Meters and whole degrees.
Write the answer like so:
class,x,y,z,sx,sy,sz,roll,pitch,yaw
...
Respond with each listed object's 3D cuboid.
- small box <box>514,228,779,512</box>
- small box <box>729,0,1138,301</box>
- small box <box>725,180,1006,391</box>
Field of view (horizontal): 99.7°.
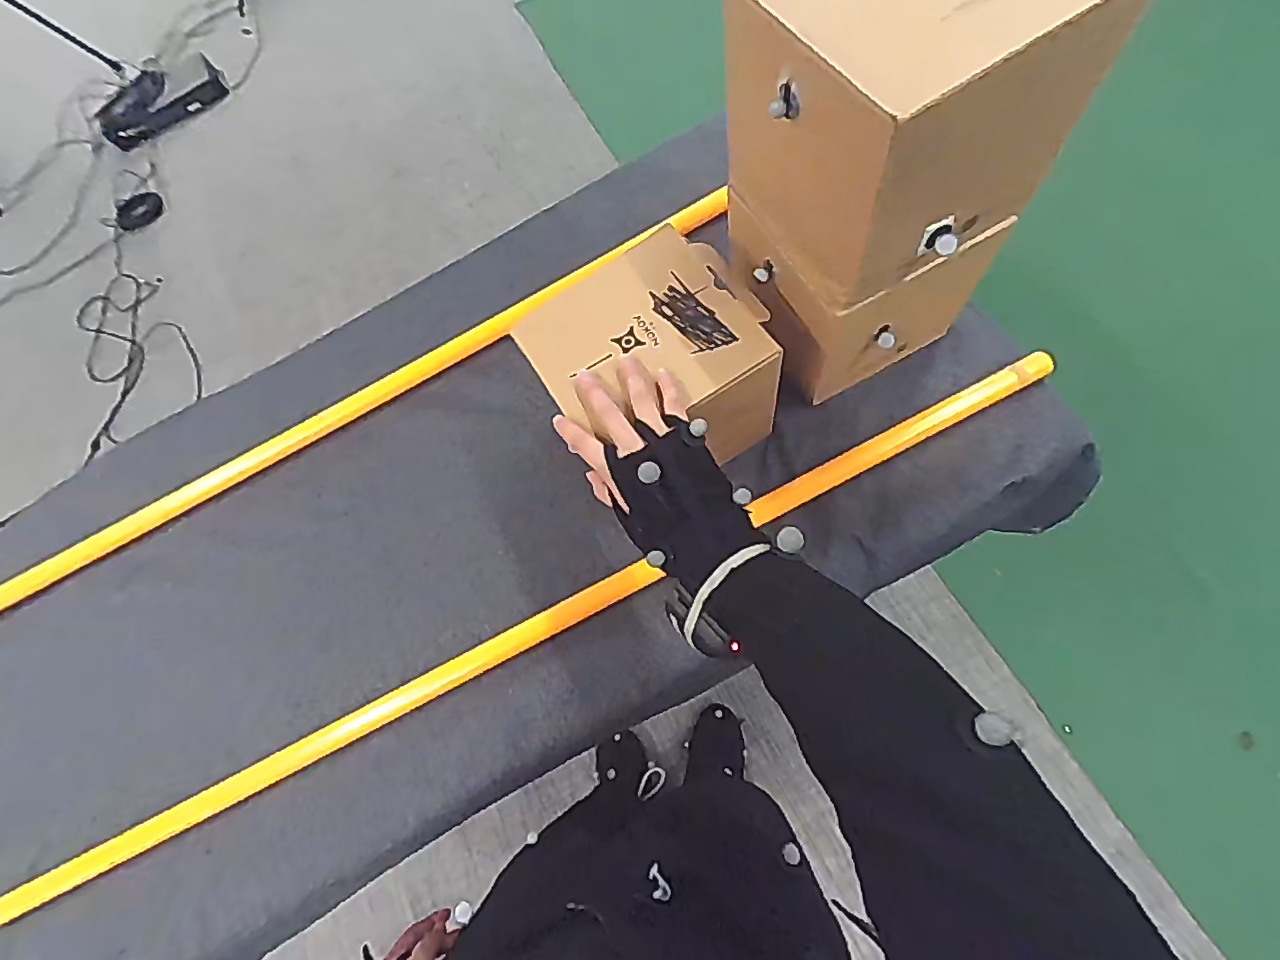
class,x,y,z,sx,sy,sz,roll,pitch,yaw
small box,0.013,-0.094,0.529,0.179,0.176,0.168,-33,68,0
small box,0.175,-0.268,0.385,0.168,0.176,0.179,-31,69,1
small box,0.201,-0.212,0.536,0.168,0.176,0.179,-29,68,0
